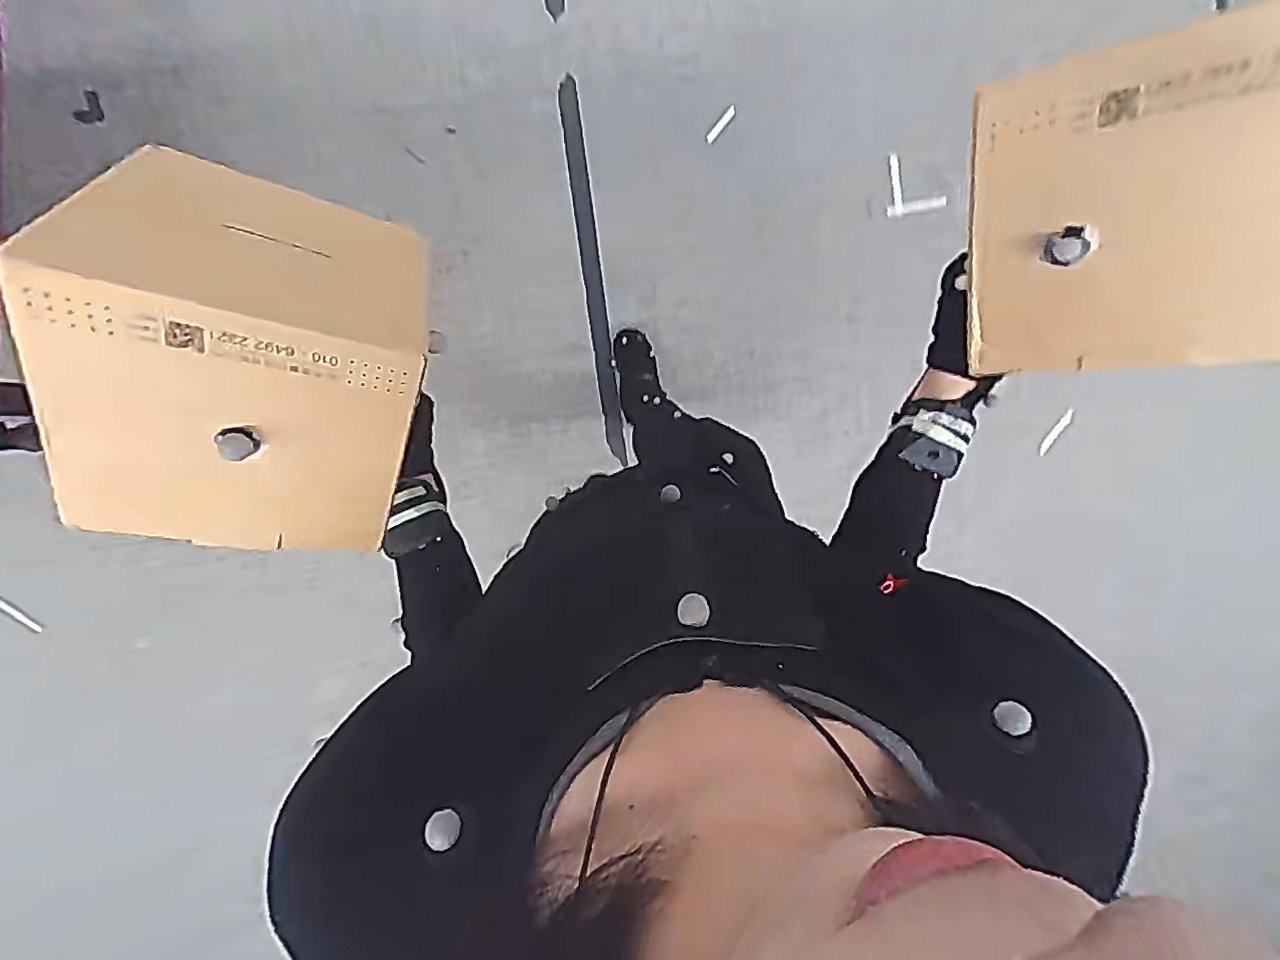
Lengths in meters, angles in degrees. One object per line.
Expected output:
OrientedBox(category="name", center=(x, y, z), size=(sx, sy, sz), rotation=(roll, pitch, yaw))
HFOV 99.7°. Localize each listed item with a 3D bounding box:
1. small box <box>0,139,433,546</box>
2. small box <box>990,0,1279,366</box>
OrientedBox(category="small box", center=(-0.234, -0.083, 0.341), size=(0.168, 0.179, 0.176), rotation=(10, 127, -27))
OrientedBox(category="small box", center=(0.312, -0.183, 0.322), size=(0.168, 0.179, 0.176), rotation=(5, 126, 33))
